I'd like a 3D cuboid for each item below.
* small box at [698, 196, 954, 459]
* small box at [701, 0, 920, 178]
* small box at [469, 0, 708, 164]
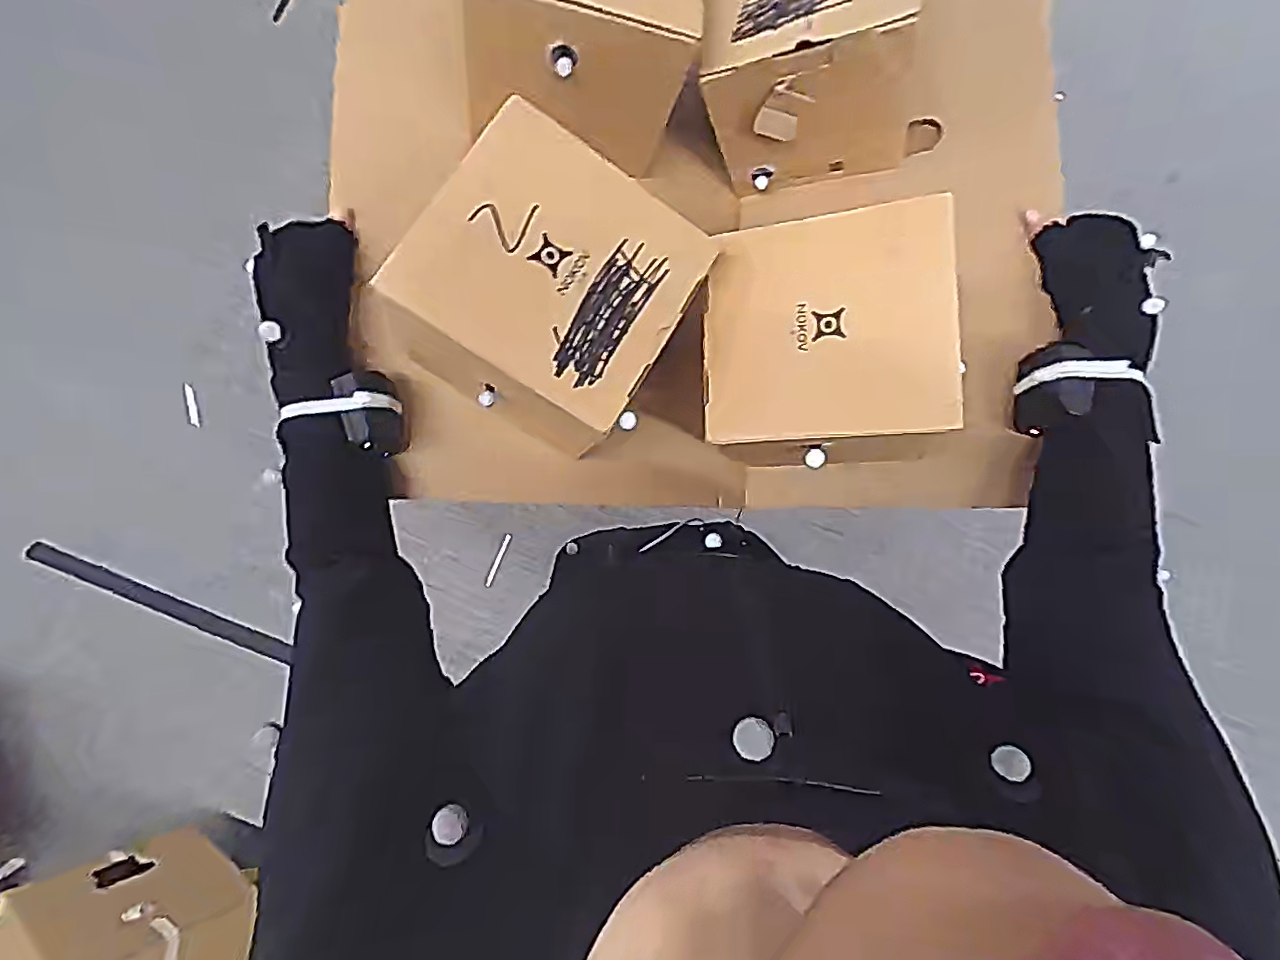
[{"bbox_3d":[0.158,-0.109,0.468,0.179,0.176,0.168,0,86,22],"label":"small box"},{"bbox_3d":[0.160,-0.406,0.495,0.168,0.176,0.179,2,84,21],"label":"small box"},{"bbox_3d":[-0.050,-0.408,0.462,0.179,0.176,0.168,5,85,-16],"label":"small box"}]
